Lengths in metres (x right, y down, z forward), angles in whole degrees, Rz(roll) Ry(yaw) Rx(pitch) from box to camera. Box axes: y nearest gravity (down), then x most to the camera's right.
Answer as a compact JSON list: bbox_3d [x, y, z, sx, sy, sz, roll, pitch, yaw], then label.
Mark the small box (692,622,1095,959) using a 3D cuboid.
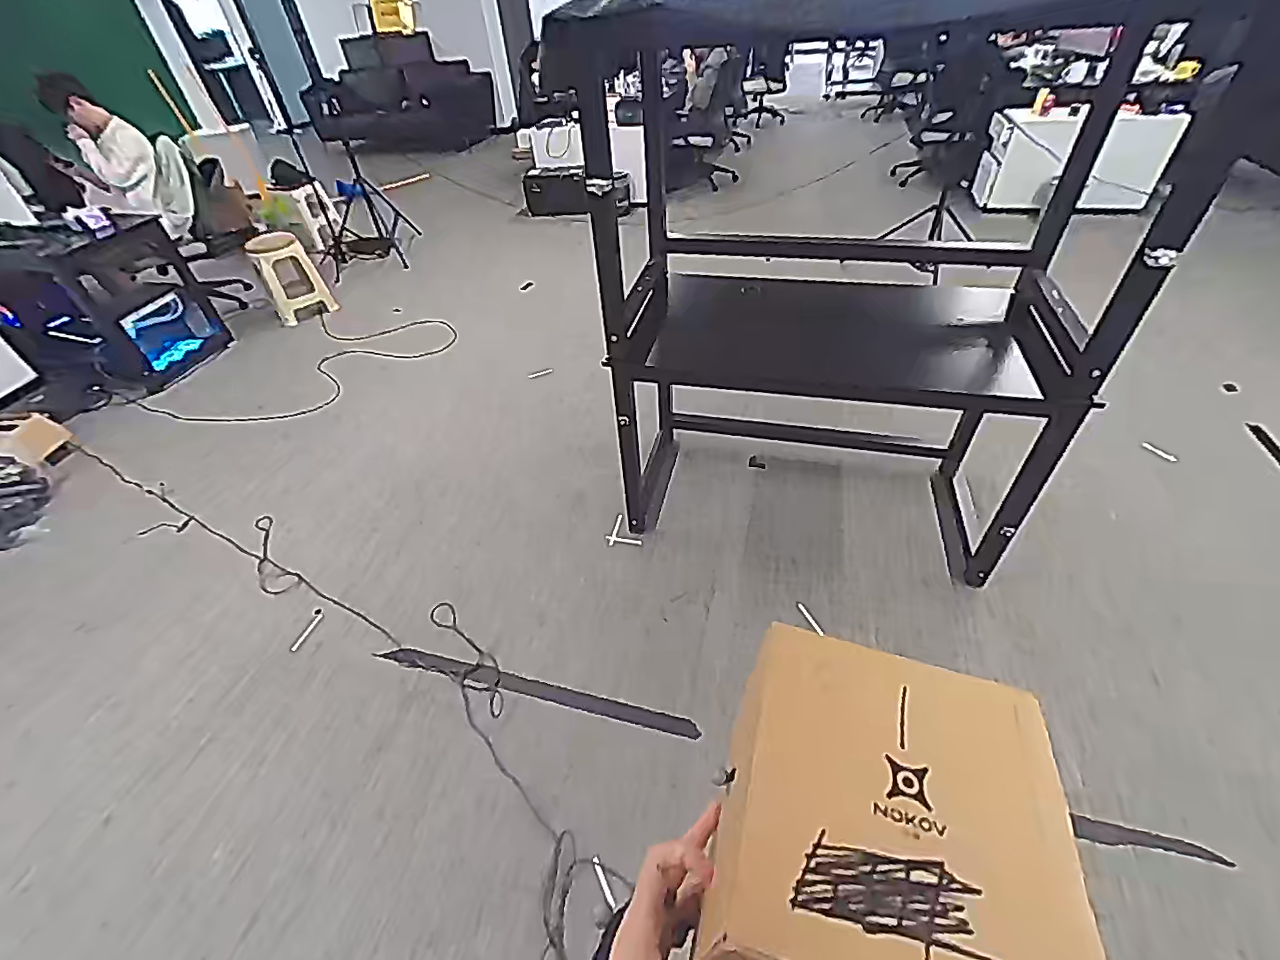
[{"bbox_3d":[0.133,0.227,0.339,0.168,0.176,0.179,14,43,11],"label":"small box"}]
